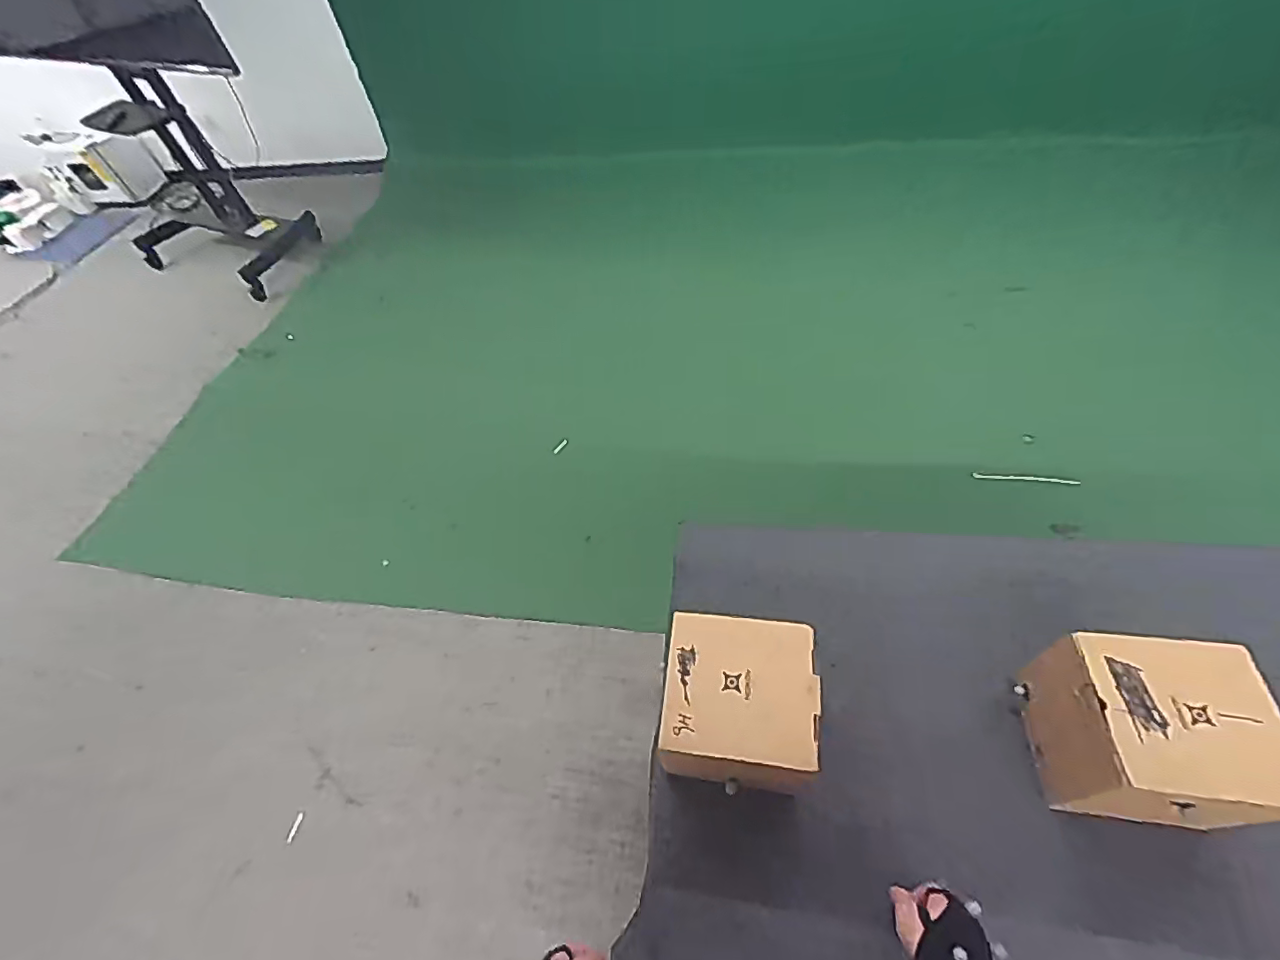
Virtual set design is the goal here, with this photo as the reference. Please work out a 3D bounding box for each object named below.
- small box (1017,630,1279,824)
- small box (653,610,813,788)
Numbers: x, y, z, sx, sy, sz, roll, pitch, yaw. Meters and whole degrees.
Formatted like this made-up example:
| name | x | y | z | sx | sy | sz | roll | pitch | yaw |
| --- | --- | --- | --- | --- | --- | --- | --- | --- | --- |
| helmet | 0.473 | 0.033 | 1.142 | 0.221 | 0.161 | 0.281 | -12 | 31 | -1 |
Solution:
| name | x | y | z | sx | sy | sz | roll | pitch | yaw |
| --- | --- | --- | --- | --- | --- | --- | --- | --- | --- |
| small box | 0.581 | 0.293 | 0.635 | 0.179 | 0.176 | 0.168 | 4 | 55 | 8 |
| small box | 0.118 | 0.286 | 0.696 | 0.179 | 0.176 | 0.168 | 5 | 54 | 9 |
